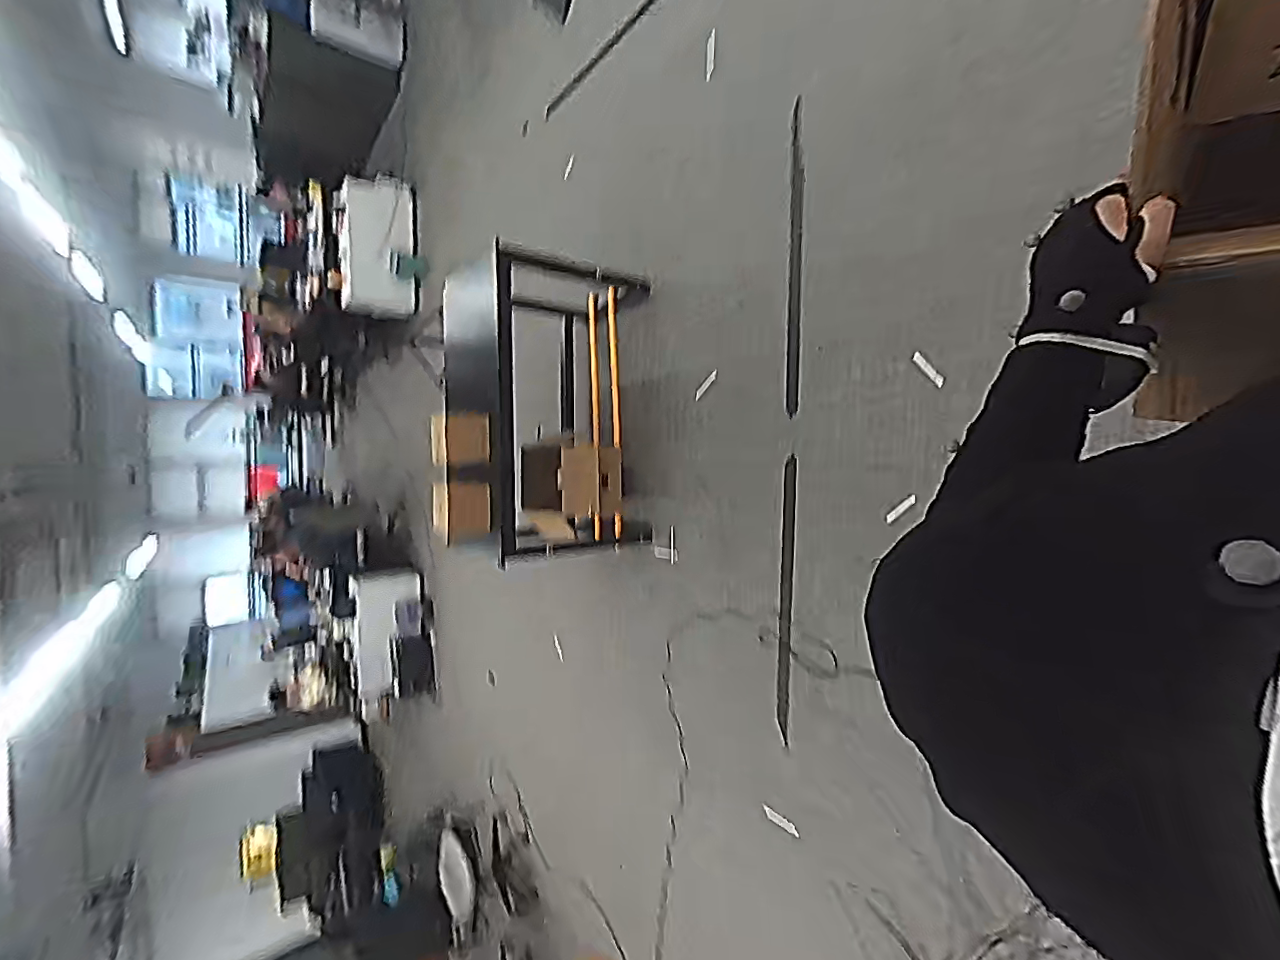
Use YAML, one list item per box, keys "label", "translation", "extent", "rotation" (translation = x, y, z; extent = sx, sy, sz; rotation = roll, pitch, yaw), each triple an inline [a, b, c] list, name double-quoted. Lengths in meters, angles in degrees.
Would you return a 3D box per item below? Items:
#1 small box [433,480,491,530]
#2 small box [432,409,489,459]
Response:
- label: "small box"
  translation: [-0.684, 0.093, 2.079]
  extent: [0.168, 0.176, 0.179]
  rotation: [4, 94, 51]
- label: "small box"
  translation: [-0.684, -0.171, 2.064]
  extent: [0.168, 0.176, 0.179]
  rotation: [1, 92, 53]
